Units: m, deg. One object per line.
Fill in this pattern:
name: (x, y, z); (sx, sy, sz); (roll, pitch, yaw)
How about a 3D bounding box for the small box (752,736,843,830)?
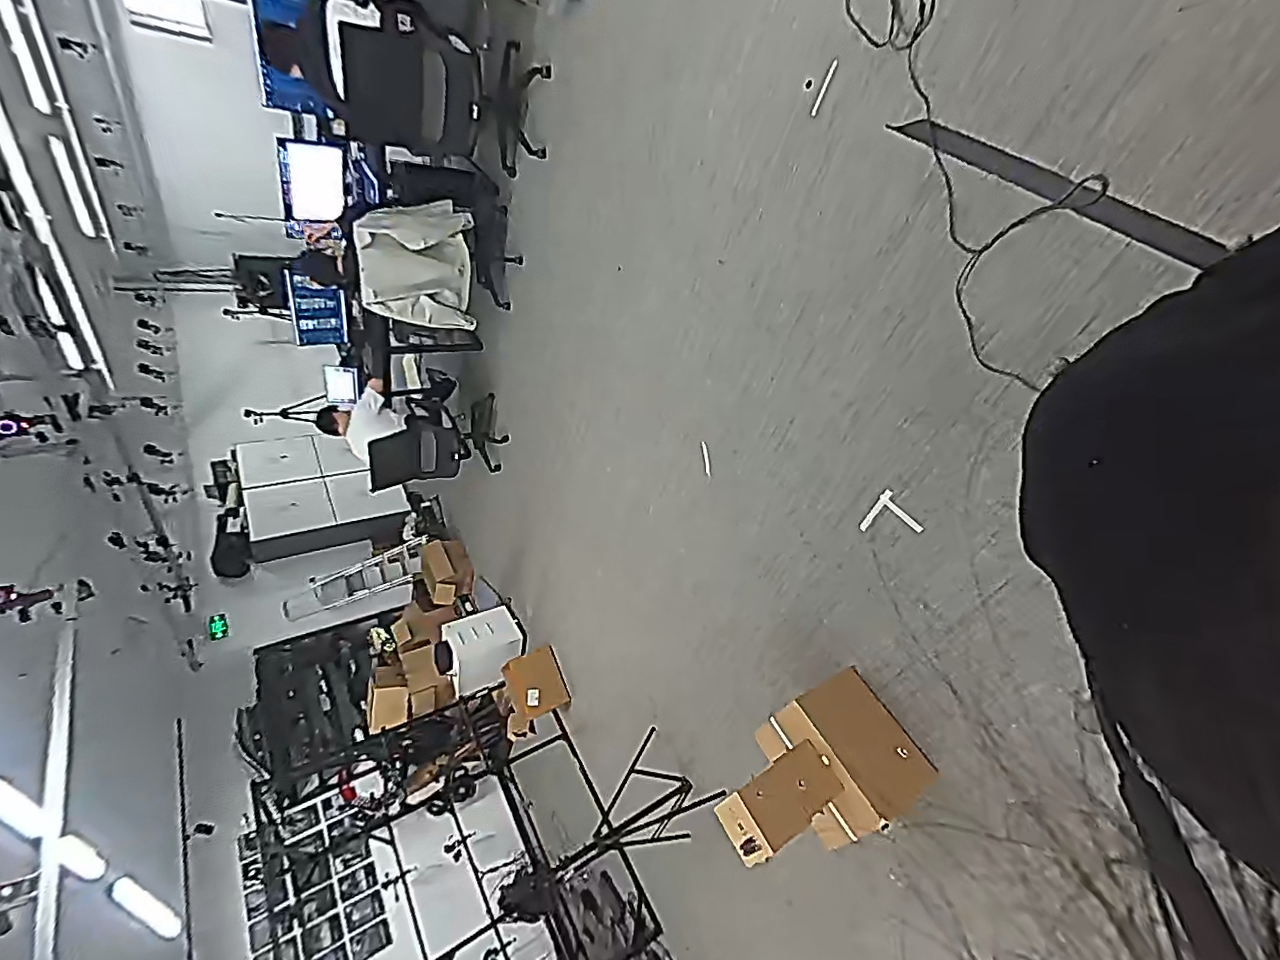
small box: (0.492, 0.938, 1.683); (0.179, 0.176, 0.168); (53, 138, 33)
